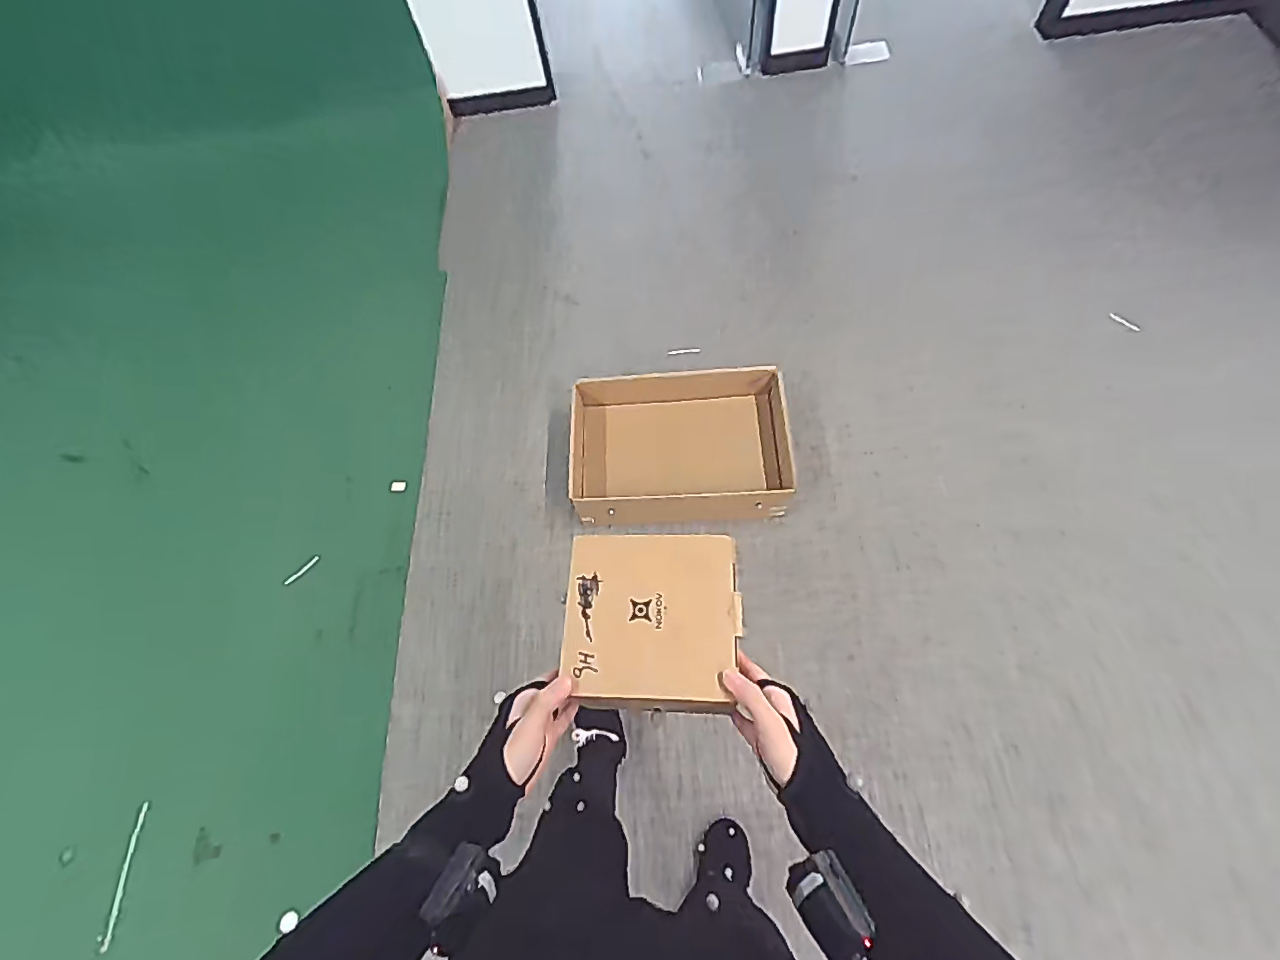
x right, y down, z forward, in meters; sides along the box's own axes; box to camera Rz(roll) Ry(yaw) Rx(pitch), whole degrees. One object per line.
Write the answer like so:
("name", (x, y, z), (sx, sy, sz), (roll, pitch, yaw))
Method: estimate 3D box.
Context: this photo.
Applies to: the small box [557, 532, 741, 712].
("small box", (0.018, 0.167, 0.613), (0.179, 0.176, 0.168), (0, 63, 6))
